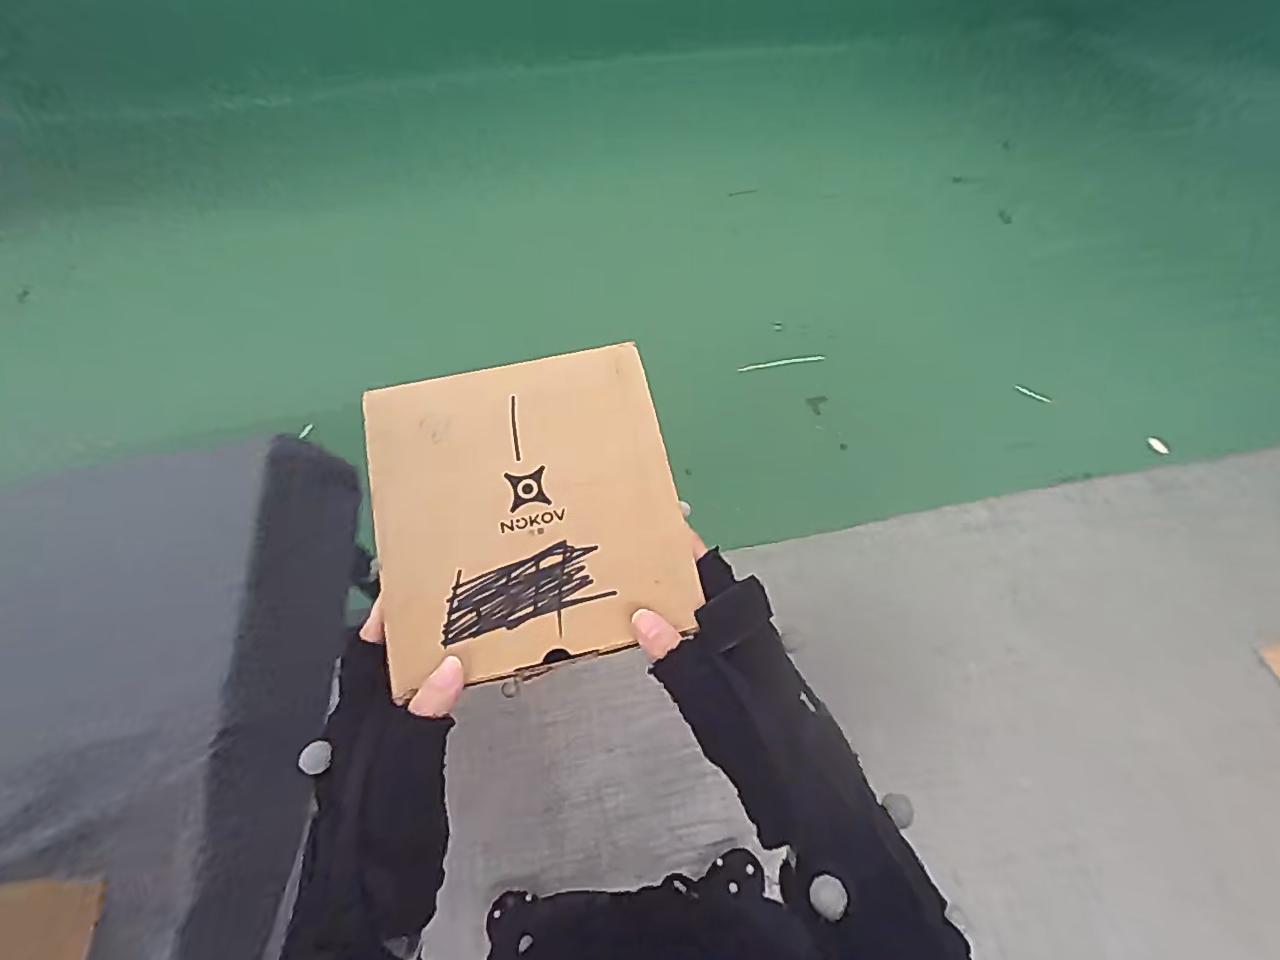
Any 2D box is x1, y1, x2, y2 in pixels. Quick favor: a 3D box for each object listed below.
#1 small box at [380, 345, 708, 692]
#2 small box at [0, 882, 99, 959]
[{"bbox_3d":[-0.060,0.036,0.381,0.168,0.176,0.179,-12,72,-6],"label":"small box"},{"bbox_3d":[-0.594,0.452,0.426,0.168,0.176,0.179,-18,57,-7],"label":"small box"}]
